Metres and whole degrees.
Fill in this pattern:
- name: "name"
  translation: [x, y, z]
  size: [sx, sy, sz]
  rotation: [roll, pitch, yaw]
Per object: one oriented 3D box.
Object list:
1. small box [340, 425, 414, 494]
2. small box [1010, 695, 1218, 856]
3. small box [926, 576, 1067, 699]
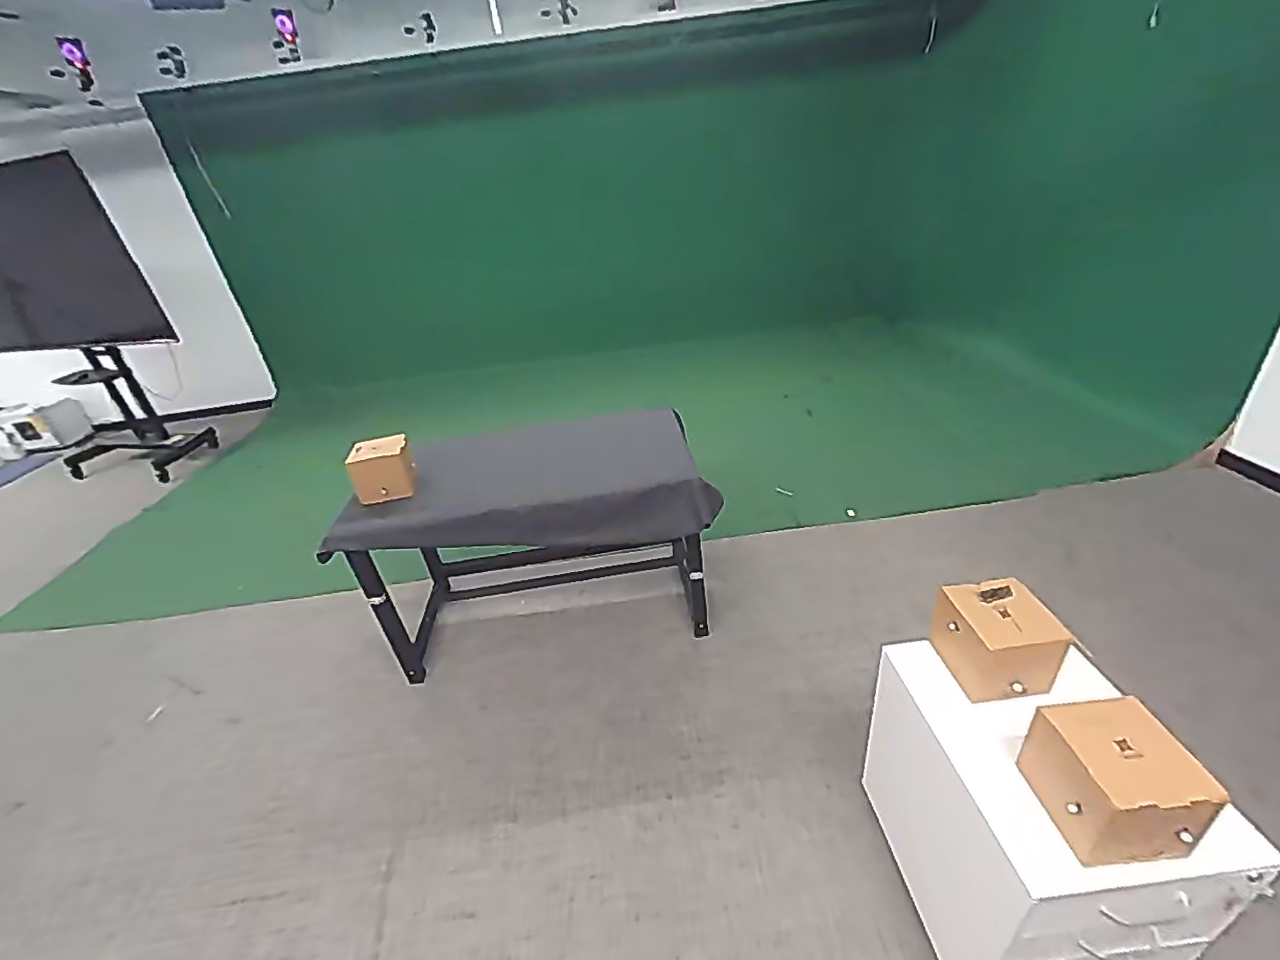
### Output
- name: "small box"
  translation: [-0.900, -0.070, 1.869]
  size: [0.179, 0.176, 0.168]
  rotation: [-10, 30, -9]
- name: "small box"
  translation: [0.756, 0.487, 0.888]
  size: [0.168, 0.176, 0.179]
  rotation: [-5, 29, 0]
- name: "small box"
  translation: [0.737, 0.331, 1.143]
  size: [0.168, 0.176, 0.179]
  rotation: [-7, 33, -1]
